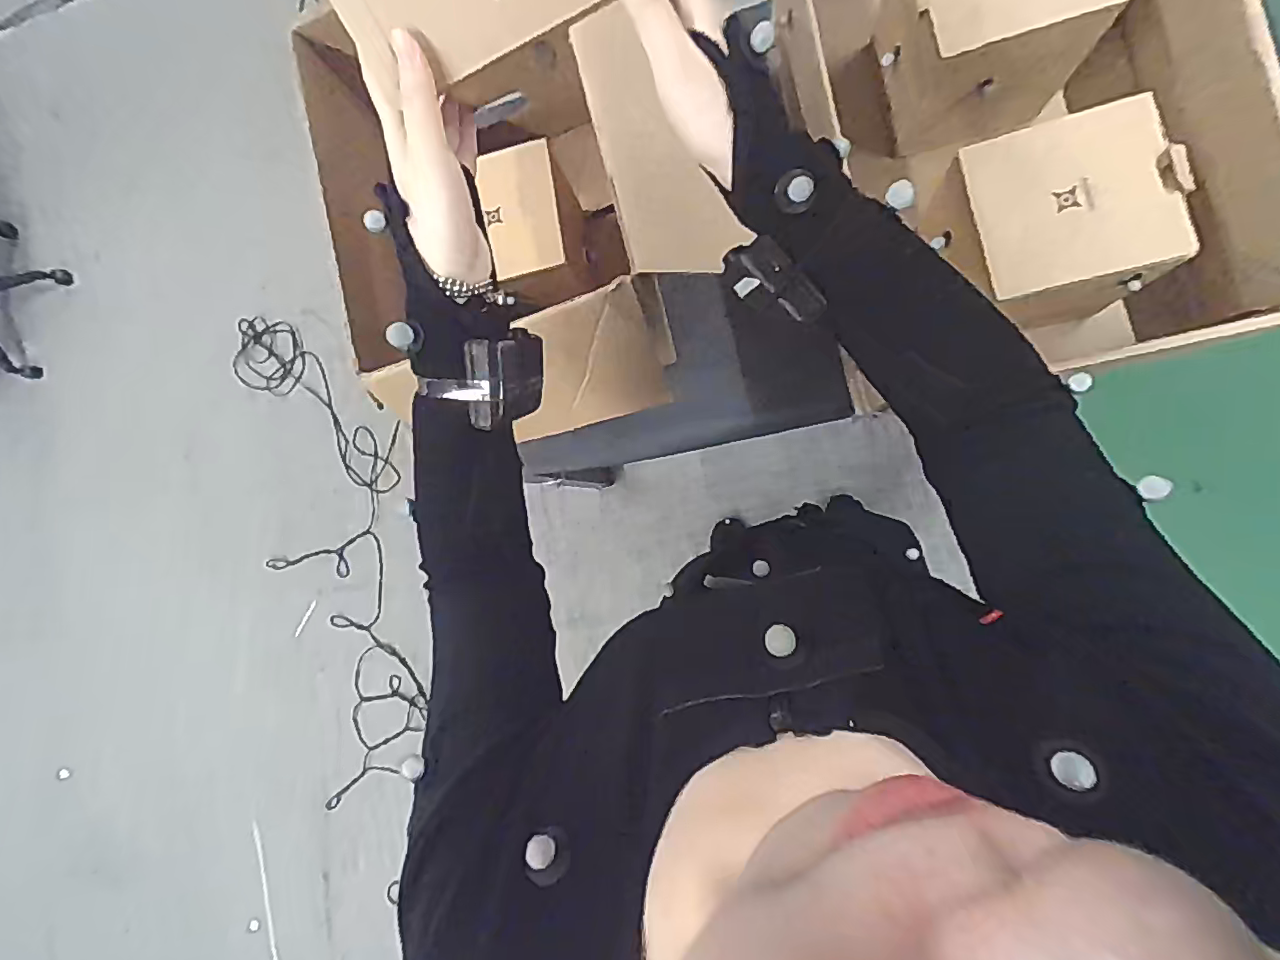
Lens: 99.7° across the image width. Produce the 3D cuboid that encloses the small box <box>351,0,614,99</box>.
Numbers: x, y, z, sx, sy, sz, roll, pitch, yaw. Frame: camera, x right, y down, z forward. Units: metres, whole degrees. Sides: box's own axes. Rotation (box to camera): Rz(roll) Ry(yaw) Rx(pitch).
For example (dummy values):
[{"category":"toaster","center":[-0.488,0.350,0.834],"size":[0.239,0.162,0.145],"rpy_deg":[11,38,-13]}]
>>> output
[{"category":"small box","center":[-0.088,-0.348,0.292],"size":[0.168,0.179,0.176],"rpy_deg":[-17,42,14]}]
